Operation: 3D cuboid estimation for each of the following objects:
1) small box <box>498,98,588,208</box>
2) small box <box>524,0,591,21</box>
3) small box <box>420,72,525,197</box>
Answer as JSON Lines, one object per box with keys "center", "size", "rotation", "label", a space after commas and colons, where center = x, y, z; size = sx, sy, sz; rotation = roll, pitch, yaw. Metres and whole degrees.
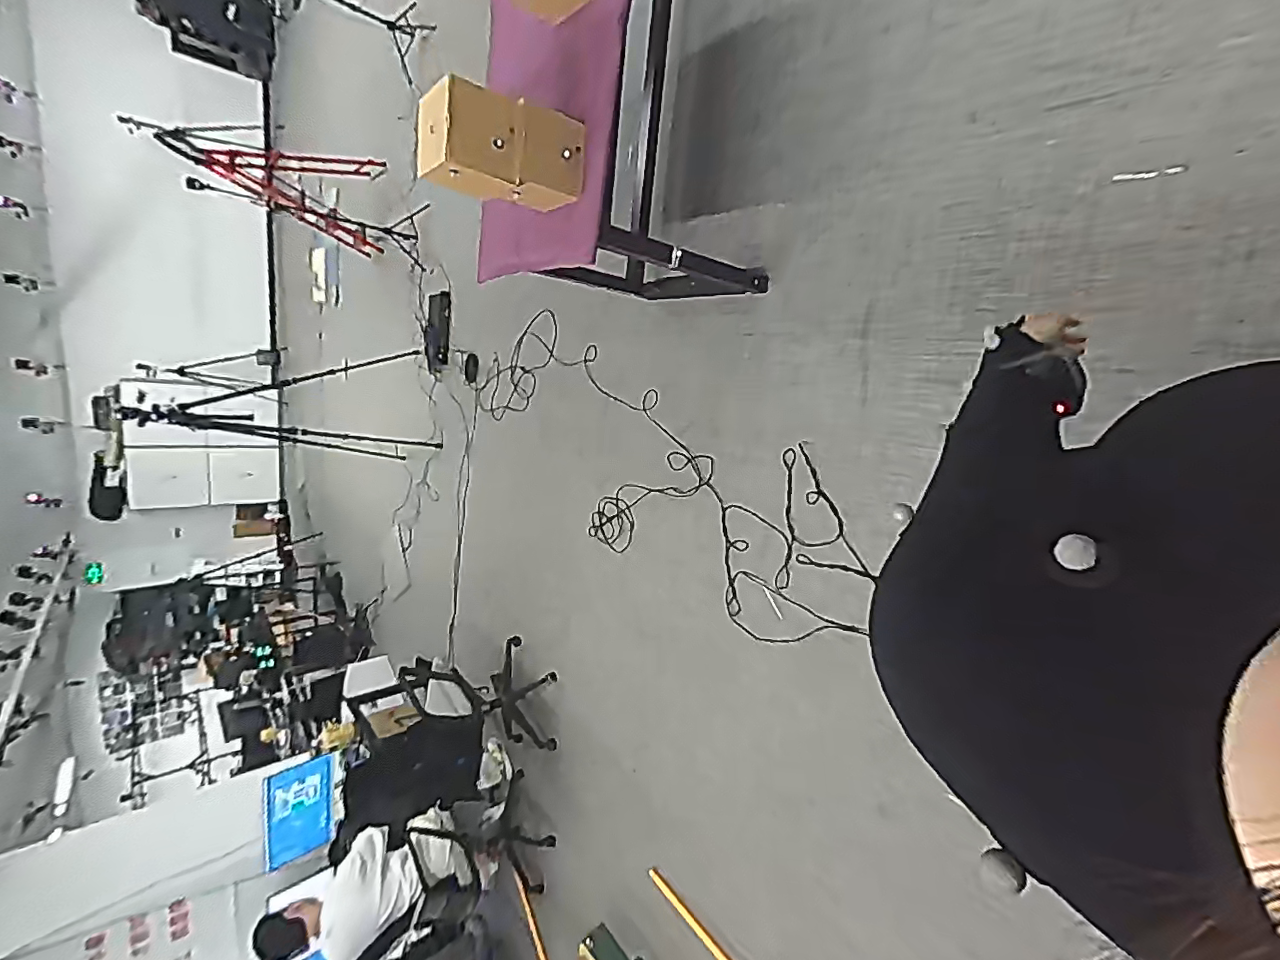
{"center": [-0.246, -0.774, 1.304], "size": [0.179, 0.176, 0.168], "rotation": [17, 106, 48], "label": "small box"}
{"center": [-0.203, -1.200, 1.230], "size": [0.179, 0.176, 0.168], "rotation": [20, 108, 46], "label": "small box"}
{"center": [-0.375, -0.754, 1.206], "size": [0.179, 0.176, 0.168], "rotation": [17, 105, 48], "label": "small box"}
